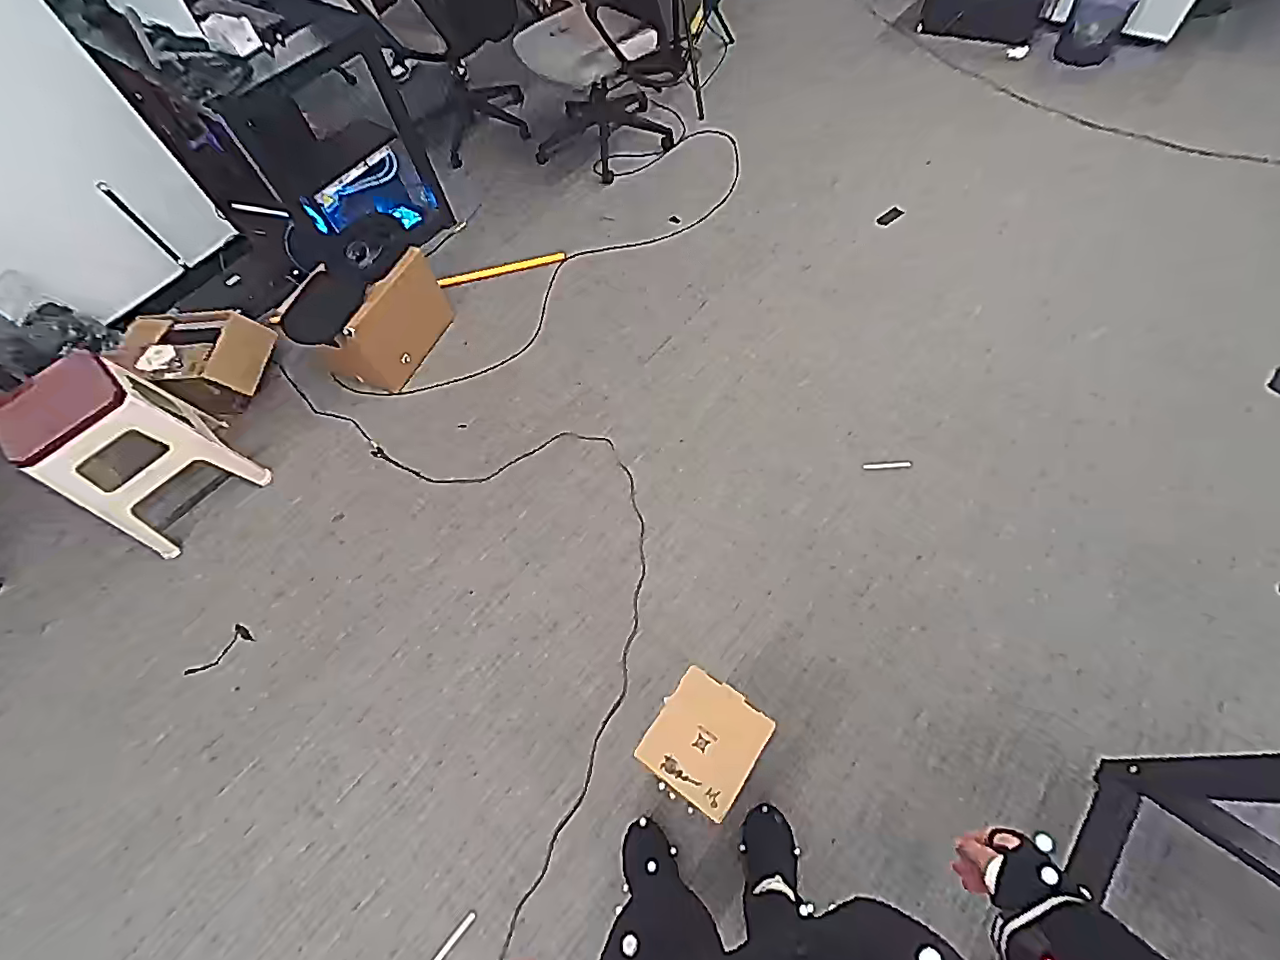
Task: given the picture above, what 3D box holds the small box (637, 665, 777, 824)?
[{"bbox_3d":[0.113,0.457,0.938,0.168,0.176,0.179,31,68,22],"label":"small box"}]
